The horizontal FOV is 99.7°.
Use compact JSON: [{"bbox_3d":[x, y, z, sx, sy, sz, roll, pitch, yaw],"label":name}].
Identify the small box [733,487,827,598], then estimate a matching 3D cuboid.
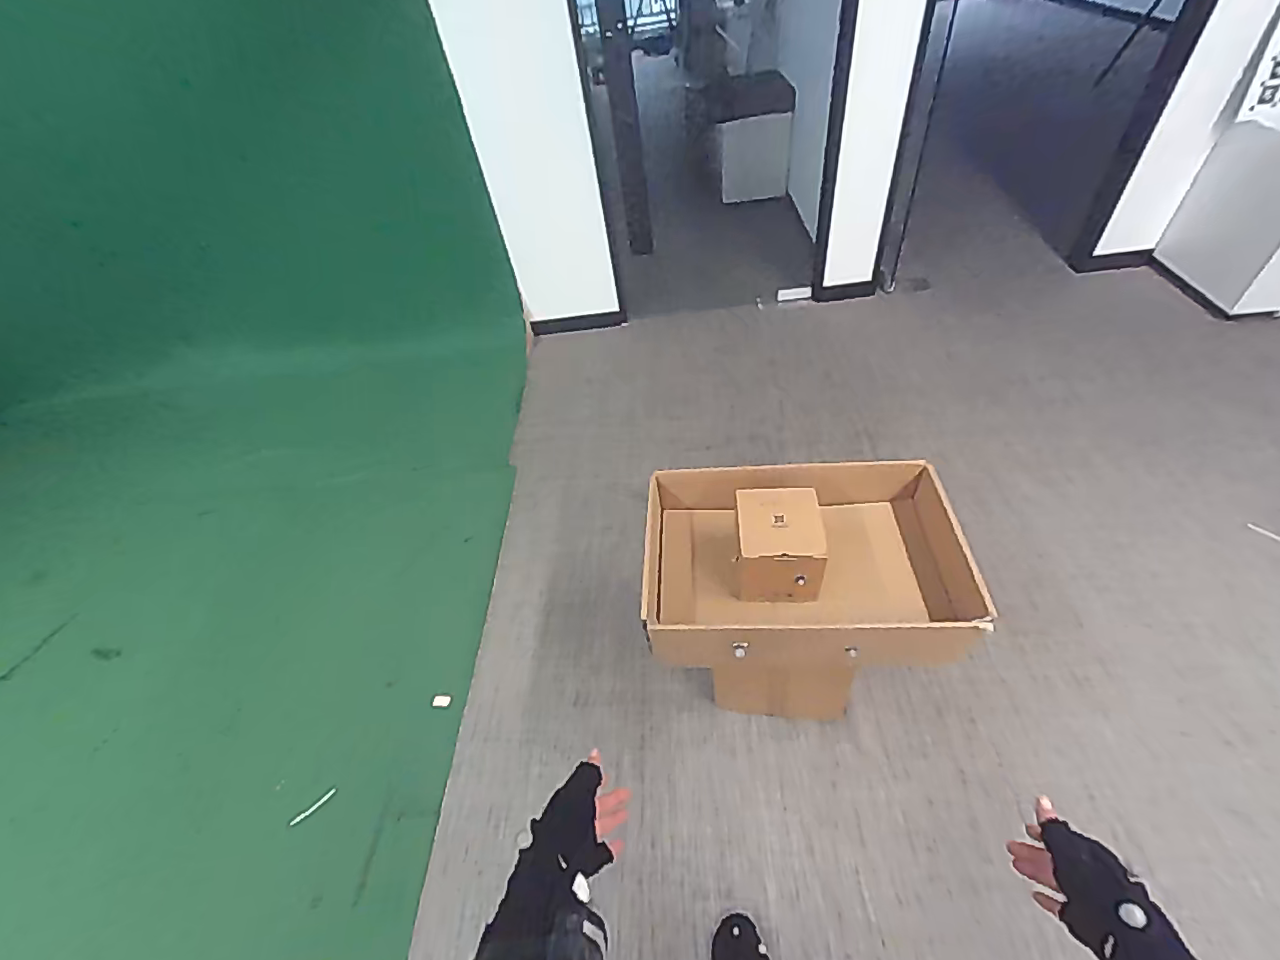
[{"bbox_3d":[0.286,0.135,1.140,0.168,0.176,0.179,-1,46,5],"label":"small box"}]
